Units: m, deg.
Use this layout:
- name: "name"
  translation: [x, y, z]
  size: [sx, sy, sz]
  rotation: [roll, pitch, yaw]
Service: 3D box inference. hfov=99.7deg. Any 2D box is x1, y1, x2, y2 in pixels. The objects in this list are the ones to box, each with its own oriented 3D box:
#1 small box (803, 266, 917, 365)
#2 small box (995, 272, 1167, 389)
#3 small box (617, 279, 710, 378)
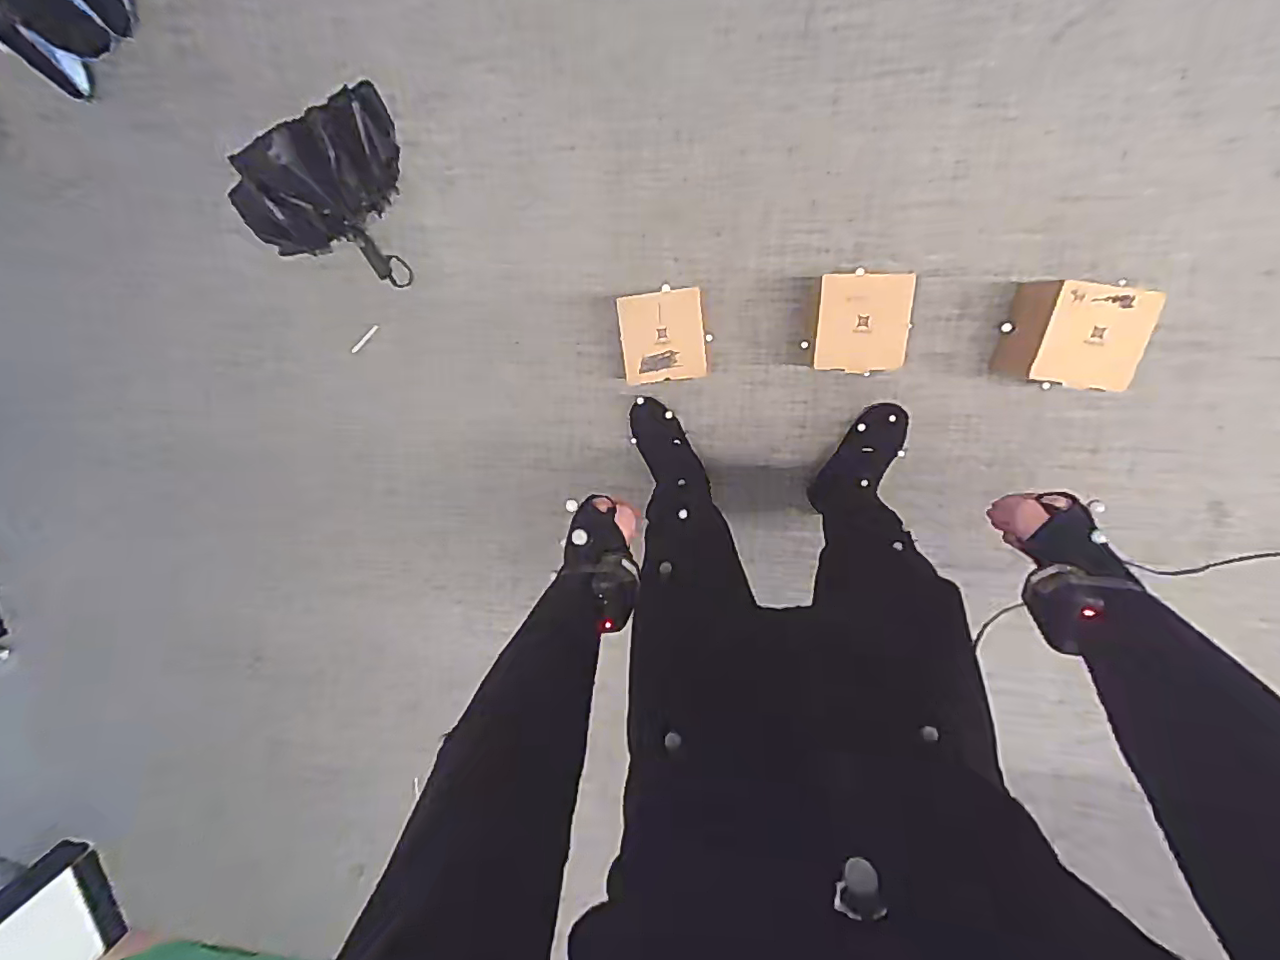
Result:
- name: "small box"
  translation: [0.423, -0.326, 1.071]
  size: [0.168, 0.176, 0.179]
  rotation: [2, 107, 8]
- name: "small box"
  translation: [0.807, -0.284, 1.017]
  size: [0.168, 0.176, 0.179]
  rotation: [12, 110, 6]
- name: "small box"
  translation: [0.056, -0.318, 1.132]
  size: [0.168, 0.176, 0.179]
  rotation: [-4, 106, 10]
